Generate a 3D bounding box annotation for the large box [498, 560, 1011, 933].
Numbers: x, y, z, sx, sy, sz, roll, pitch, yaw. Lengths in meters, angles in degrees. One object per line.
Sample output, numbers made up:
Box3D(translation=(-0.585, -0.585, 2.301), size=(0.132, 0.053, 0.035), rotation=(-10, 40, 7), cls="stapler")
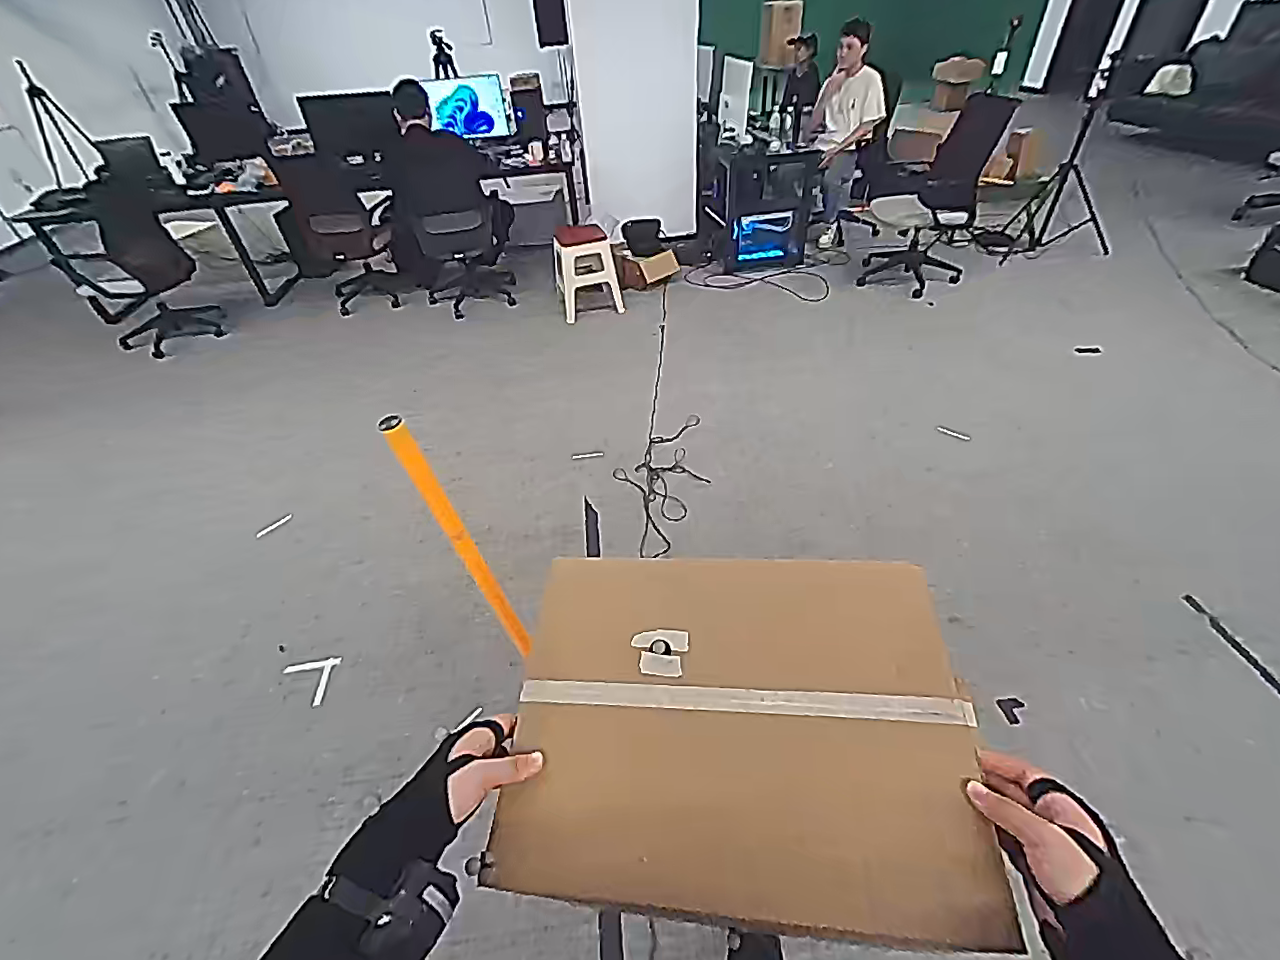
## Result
Box3D(translation=(0.112, 0.309, 0.627), size=(0.408, 0.320, 0.320), rotation=(-2, 48, 11), cls="large box")
